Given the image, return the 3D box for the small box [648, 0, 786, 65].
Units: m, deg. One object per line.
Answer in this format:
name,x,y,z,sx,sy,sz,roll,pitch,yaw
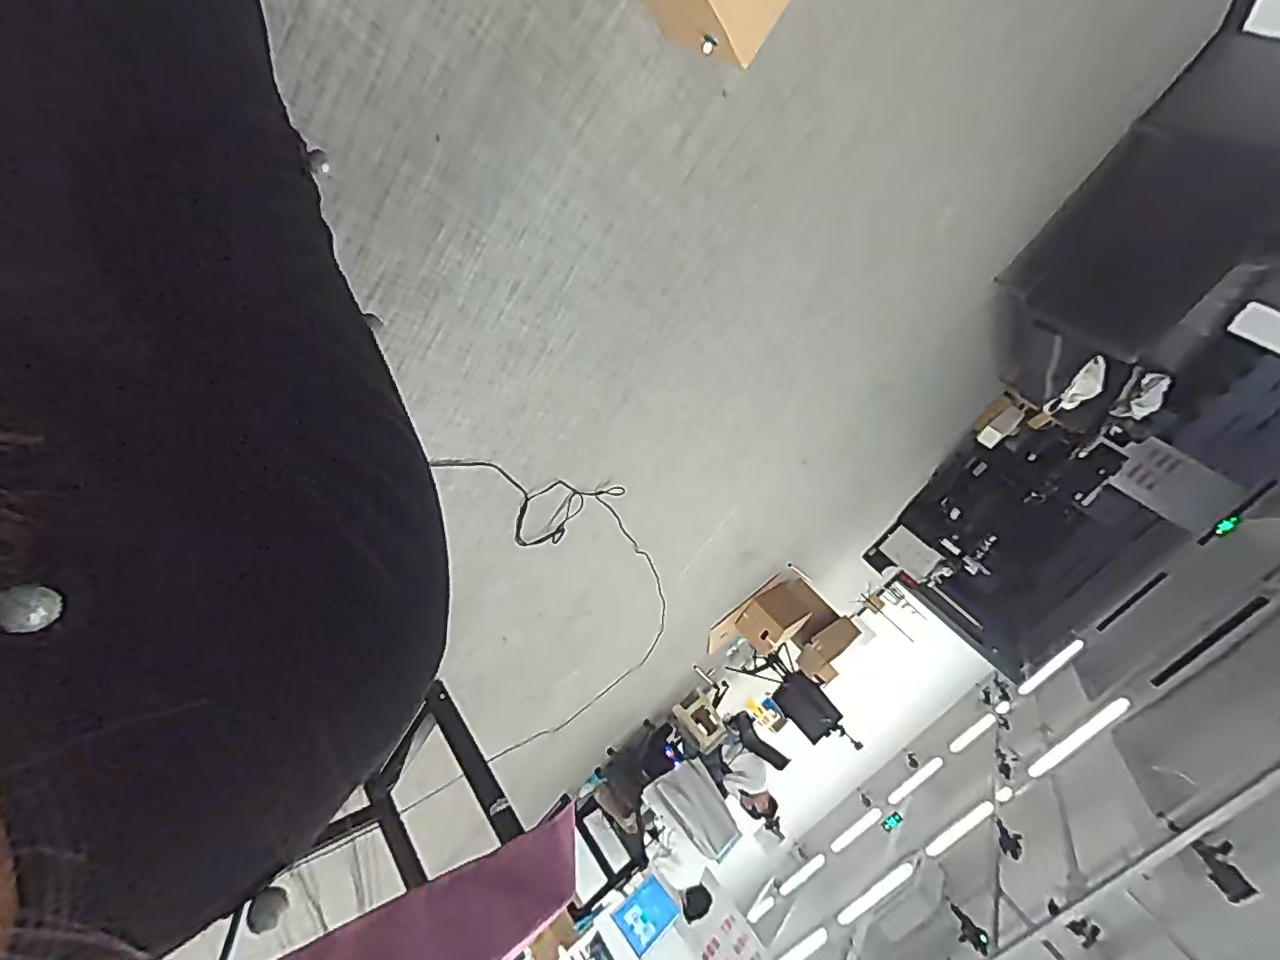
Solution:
small box,0.099,-0.709,0.711,0.168,0.176,0.179,-54,151,16
